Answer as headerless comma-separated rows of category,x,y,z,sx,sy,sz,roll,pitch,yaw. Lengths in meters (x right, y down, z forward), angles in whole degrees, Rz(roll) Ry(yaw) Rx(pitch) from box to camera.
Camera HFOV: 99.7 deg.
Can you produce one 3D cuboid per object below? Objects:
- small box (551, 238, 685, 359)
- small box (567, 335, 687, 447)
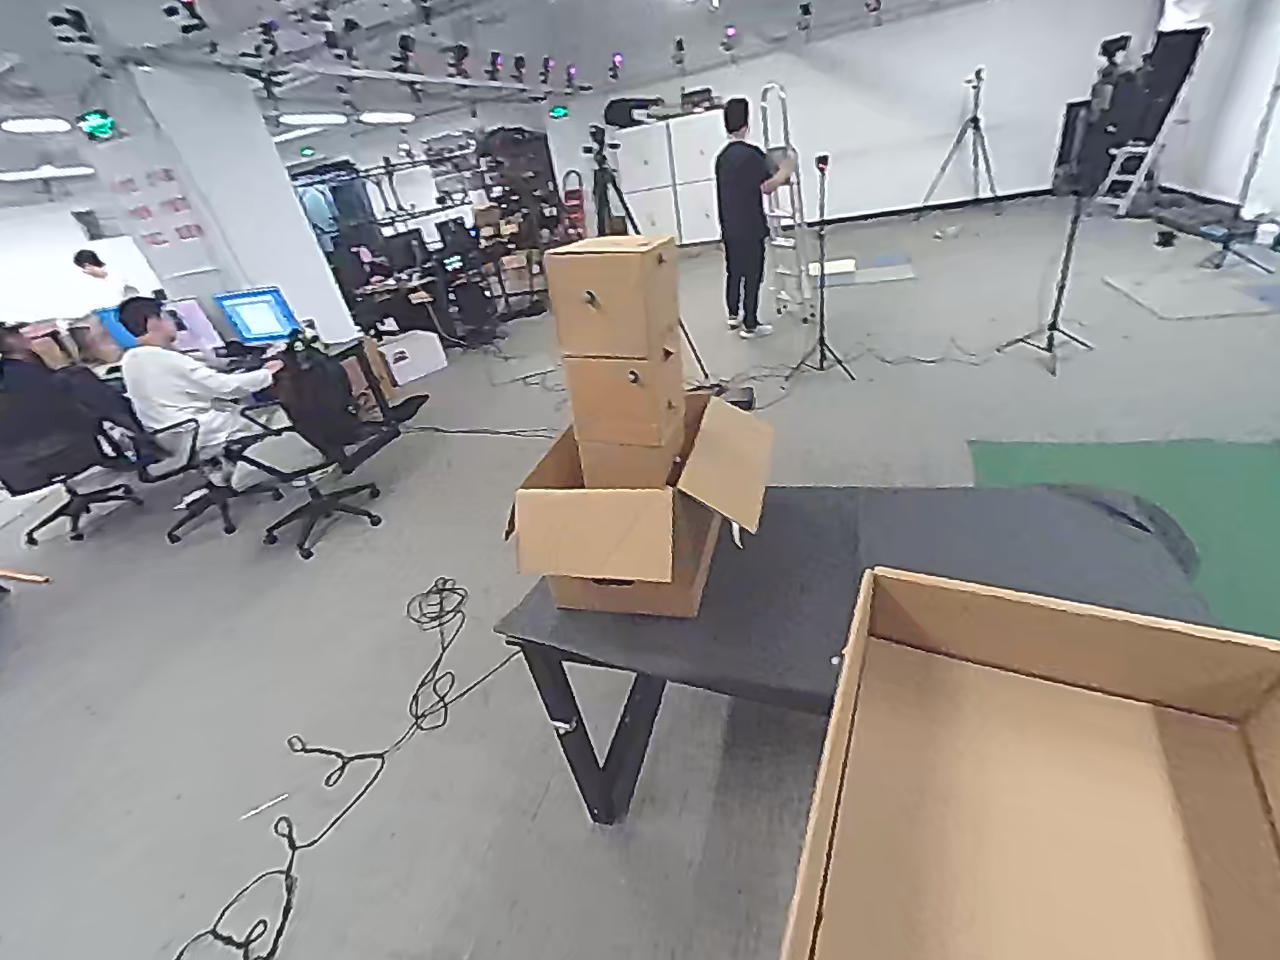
small box,-0.029,-0.316,0.941,0.179,0.176,0.168,7,33,20
small box,-0.017,-0.174,1.023,0.179,0.176,0.168,7,33,18
